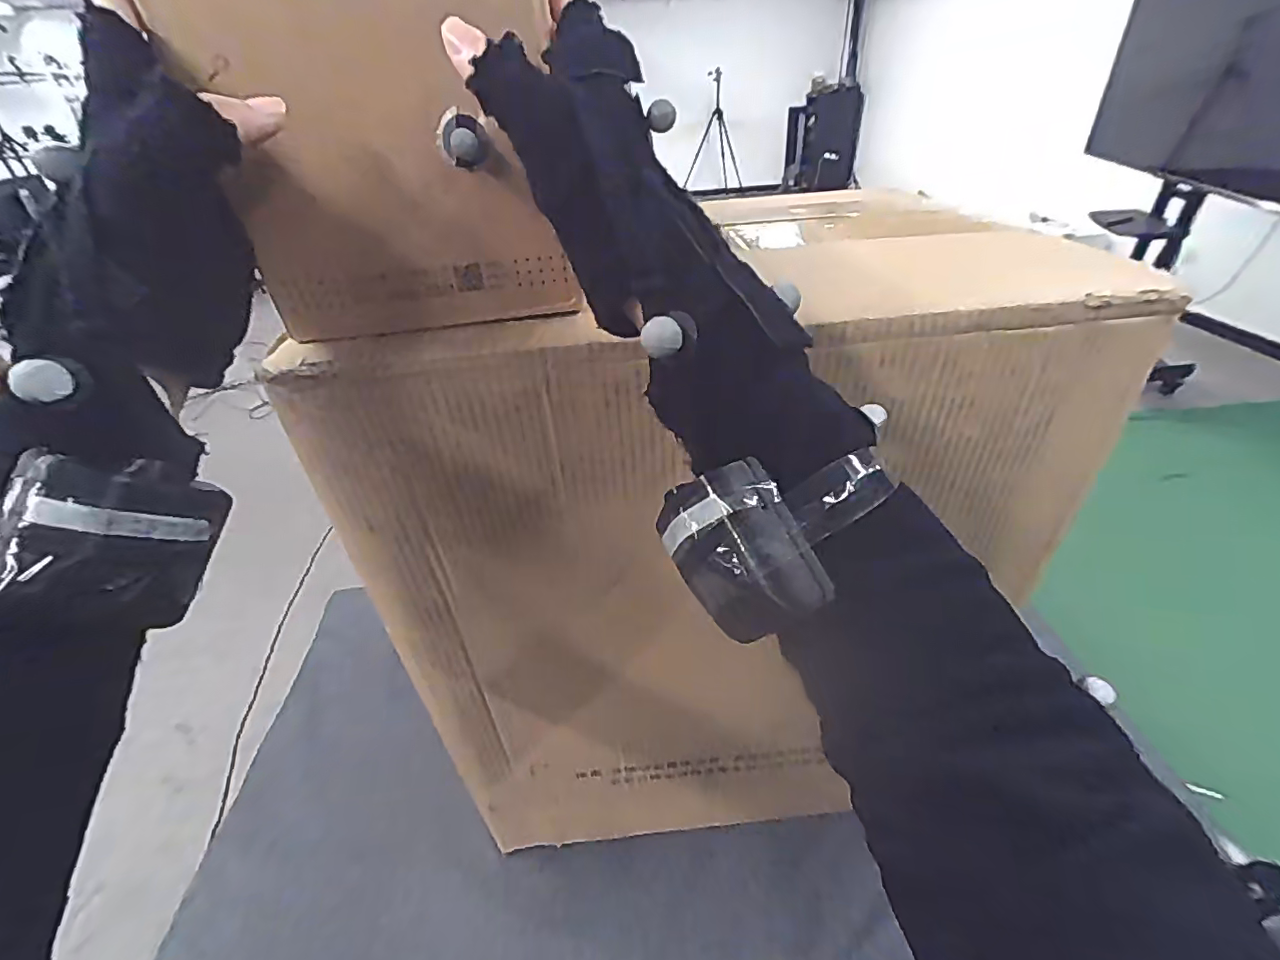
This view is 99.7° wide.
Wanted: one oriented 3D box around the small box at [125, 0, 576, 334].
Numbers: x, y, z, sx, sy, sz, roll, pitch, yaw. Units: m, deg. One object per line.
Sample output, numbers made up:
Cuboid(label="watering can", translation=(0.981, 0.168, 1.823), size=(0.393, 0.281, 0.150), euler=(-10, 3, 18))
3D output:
Cuboid(label="small box", translation=(-0.132, -0.196, 0.329), size=(0.168, 0.176, 0.179), euler=(-7, 37, -5))
